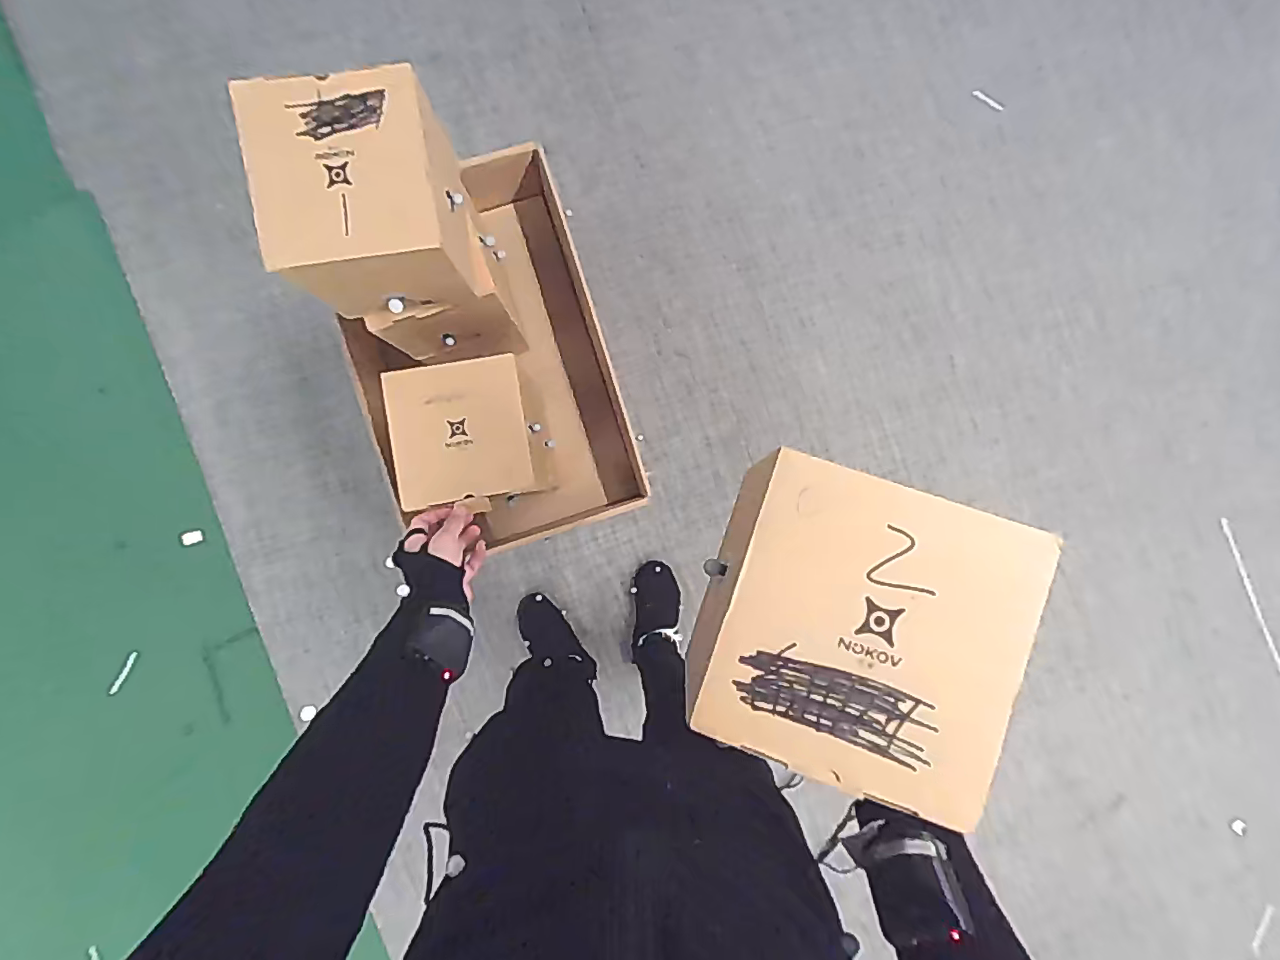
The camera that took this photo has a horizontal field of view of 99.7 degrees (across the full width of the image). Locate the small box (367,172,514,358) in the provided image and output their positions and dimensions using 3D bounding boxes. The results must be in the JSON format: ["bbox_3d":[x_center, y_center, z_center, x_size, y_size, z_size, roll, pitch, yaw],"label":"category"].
[{"bbox_3d":[-0.291,-0.292,0.756,0.168,0.176,0.179,-19,92,-3],"label":"small box"}]

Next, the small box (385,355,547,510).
[{"bbox_3d":[-0.228,-0.057,0.750,0.168,0.176,0.179,-9,87,-4],"label":"small box"}]

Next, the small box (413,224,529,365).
[{"bbox_3d":[-0.300,-0.294,0.918,0.168,0.176,0.179,-18,91,-3],"label":"small box"}]

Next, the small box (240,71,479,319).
[{"bbox_3d":[-0.287,-0.295,0.592,0.168,0.176,0.179,-9,92,-3],"label":"small box"}]
